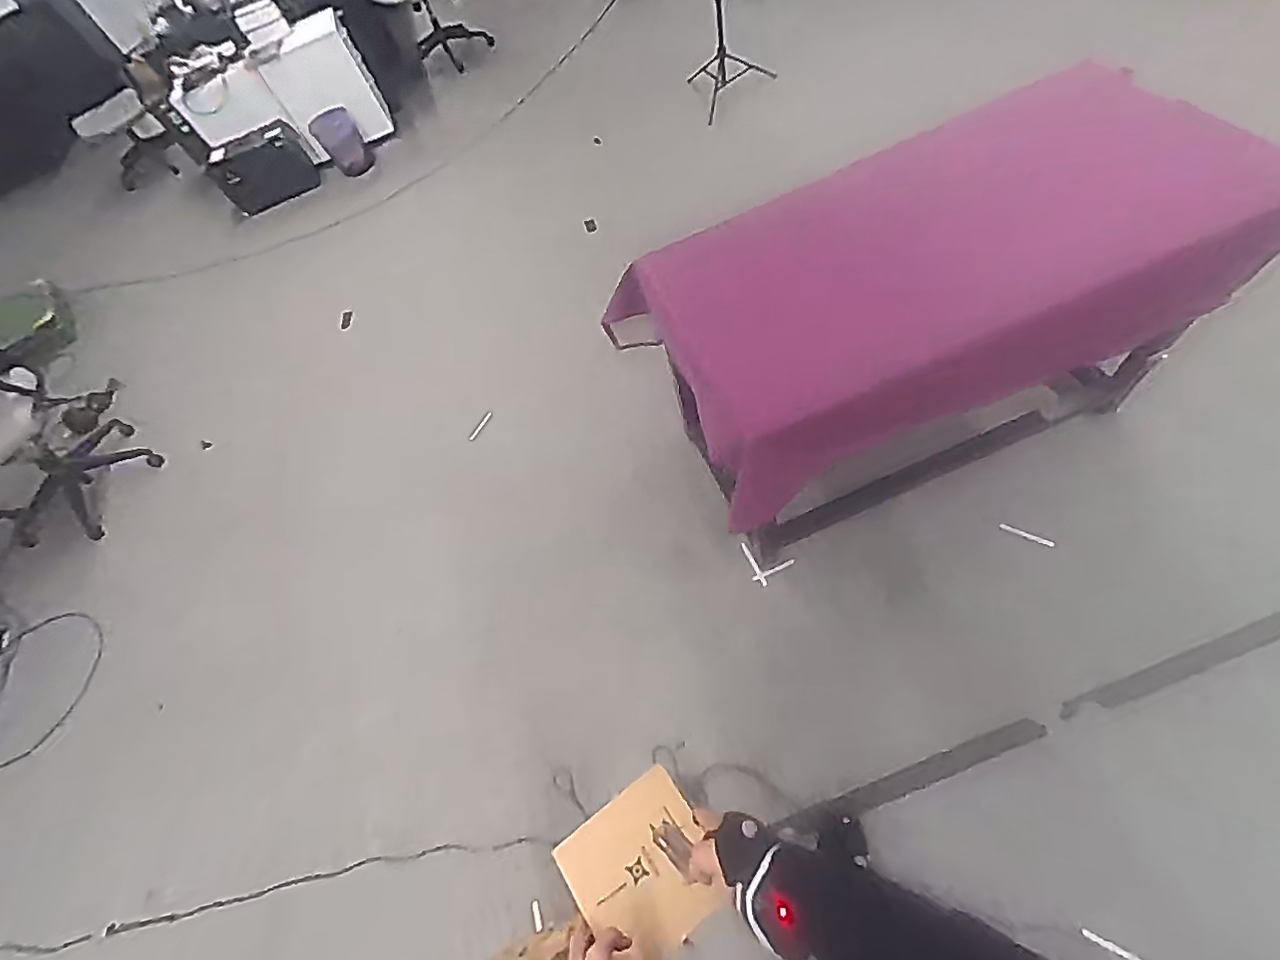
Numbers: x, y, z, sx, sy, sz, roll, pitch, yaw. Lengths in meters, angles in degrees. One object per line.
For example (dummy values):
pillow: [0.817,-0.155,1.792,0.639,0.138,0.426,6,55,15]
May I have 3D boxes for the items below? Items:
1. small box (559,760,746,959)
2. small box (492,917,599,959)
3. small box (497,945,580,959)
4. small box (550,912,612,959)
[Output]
small box: [0.021,0.514,0.725,0.179,0.176,0.168,-33,56,-13]
small box: [-0.172,0.994,1.048,0.168,0.176,0.179,-22,58,1]
small box: [-0.205,0.916,0.908,0.179,0.176,0.168,-16,59,6]
small box: [-0.139,1.073,1.186,0.179,0.176,0.168,-23,59,0]
